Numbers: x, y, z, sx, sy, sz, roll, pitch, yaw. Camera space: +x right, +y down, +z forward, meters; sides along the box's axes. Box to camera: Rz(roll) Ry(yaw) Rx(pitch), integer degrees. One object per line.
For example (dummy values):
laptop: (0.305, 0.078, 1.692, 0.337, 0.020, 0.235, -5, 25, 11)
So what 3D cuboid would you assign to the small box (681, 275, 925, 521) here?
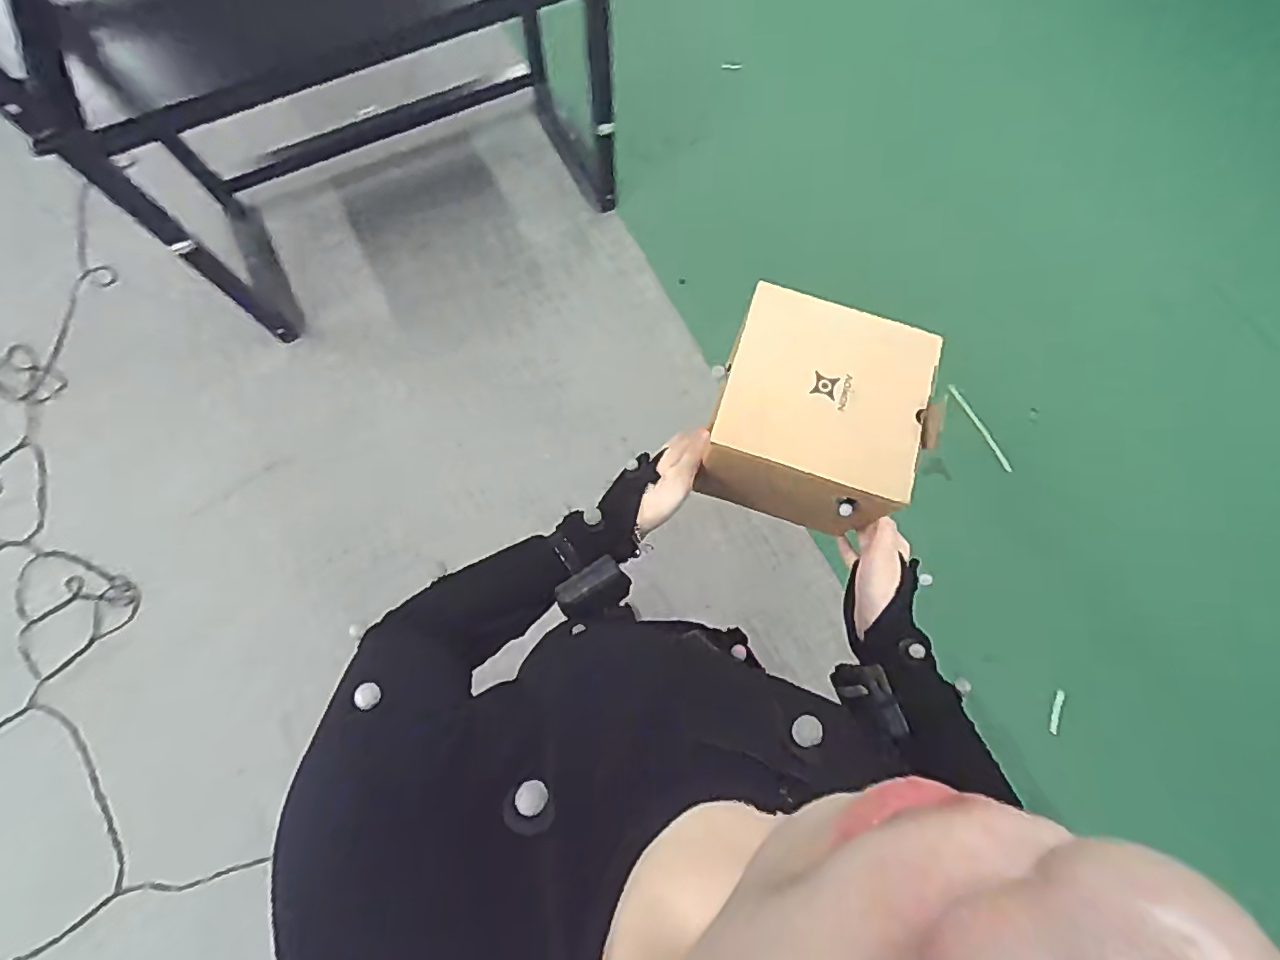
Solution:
small box: (0.148, -0.068, 0.546, 0.179, 0.176, 0.168, 17, 75, 2)
